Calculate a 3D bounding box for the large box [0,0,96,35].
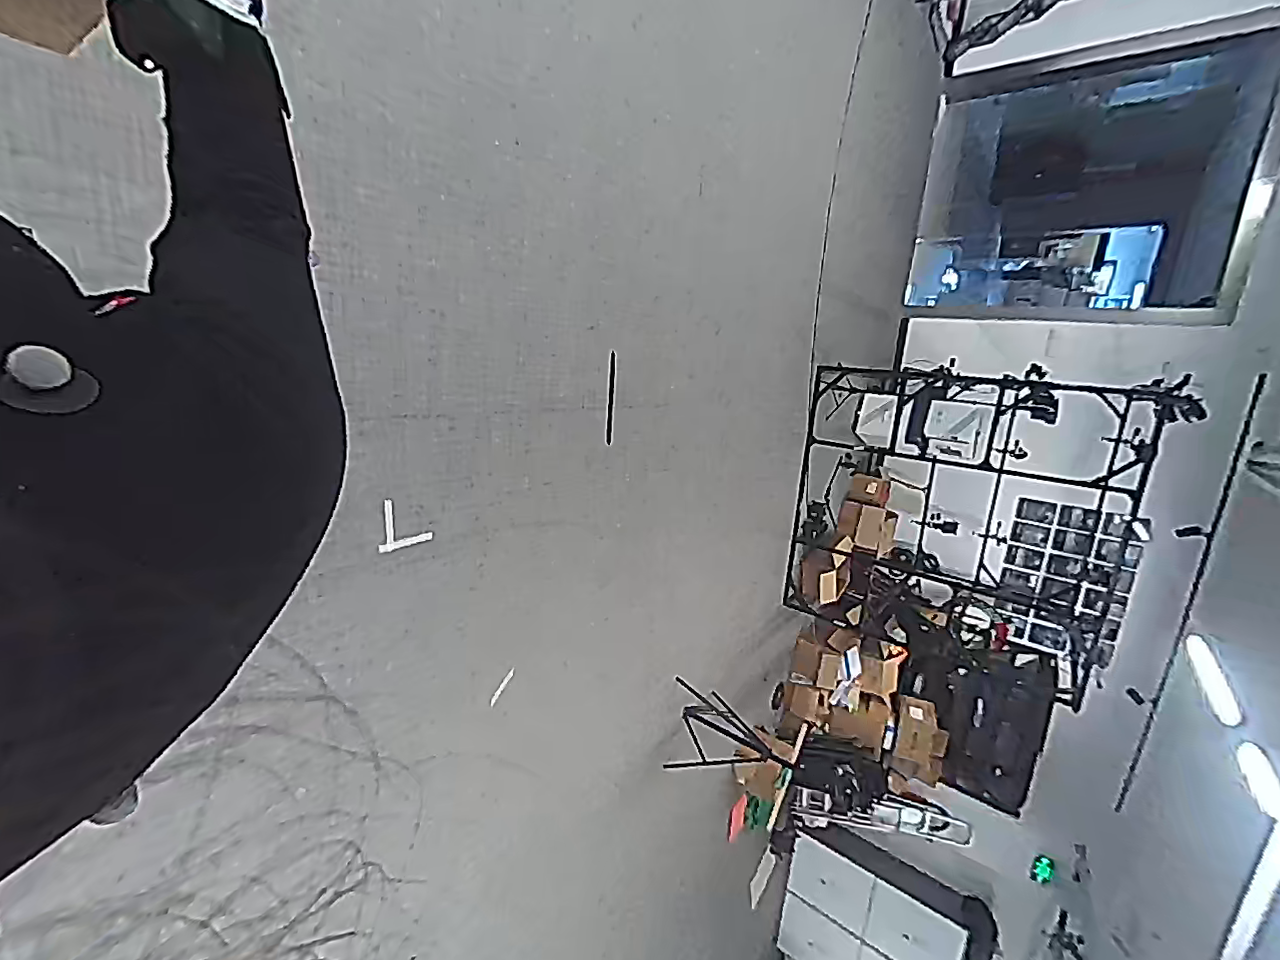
[{"bbox_3d":[-0.548,-0.503,0.248,0.408,0.320,0.320,-12,117,-52],"label":"large box"}]
